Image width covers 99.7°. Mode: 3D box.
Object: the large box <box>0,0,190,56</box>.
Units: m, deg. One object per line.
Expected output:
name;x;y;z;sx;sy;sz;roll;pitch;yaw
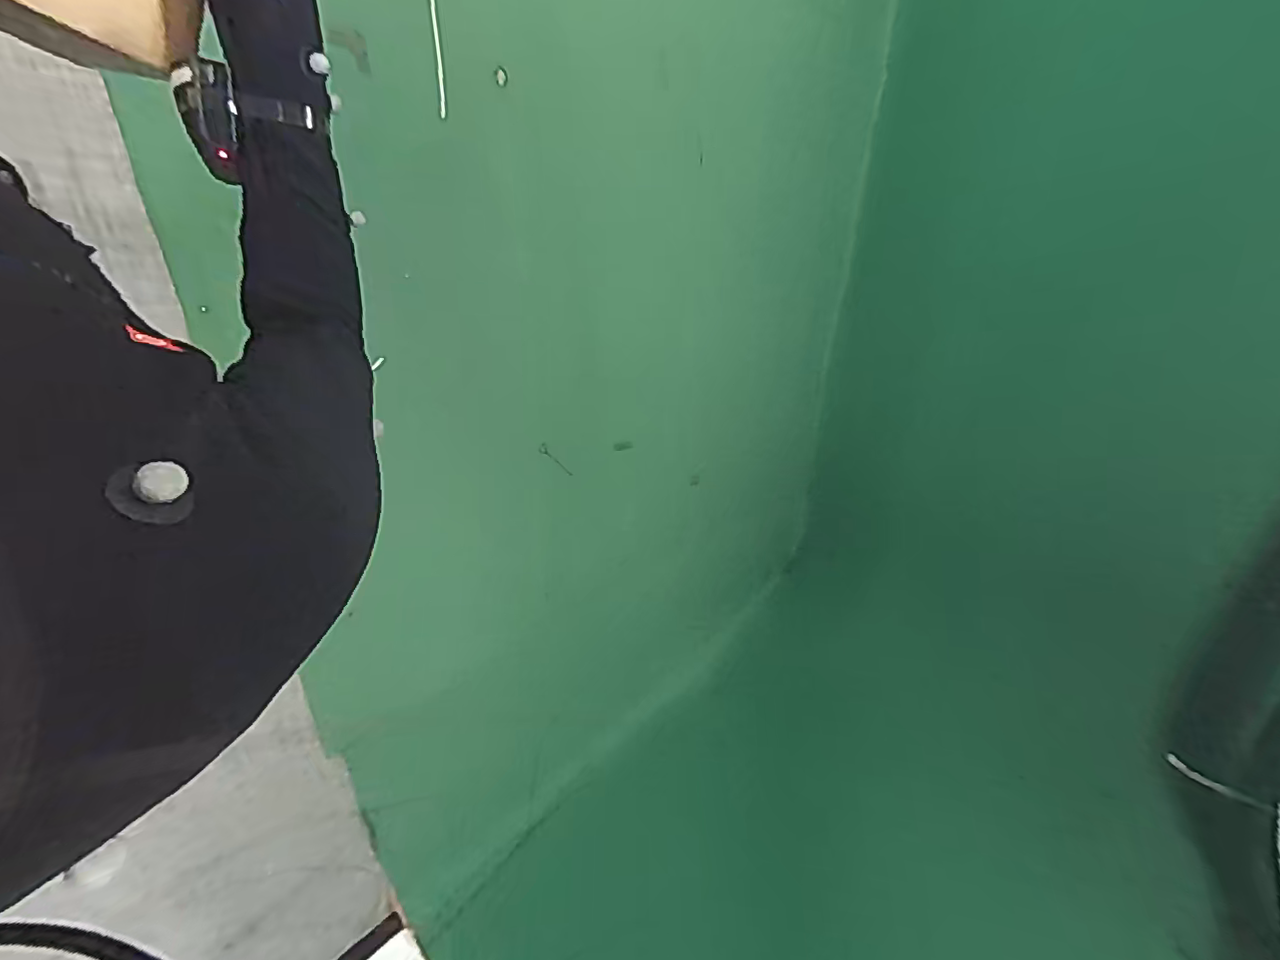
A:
large box;-0.511;-0.502;0.267;0.408;0.320;0.320;-2;116;-58
